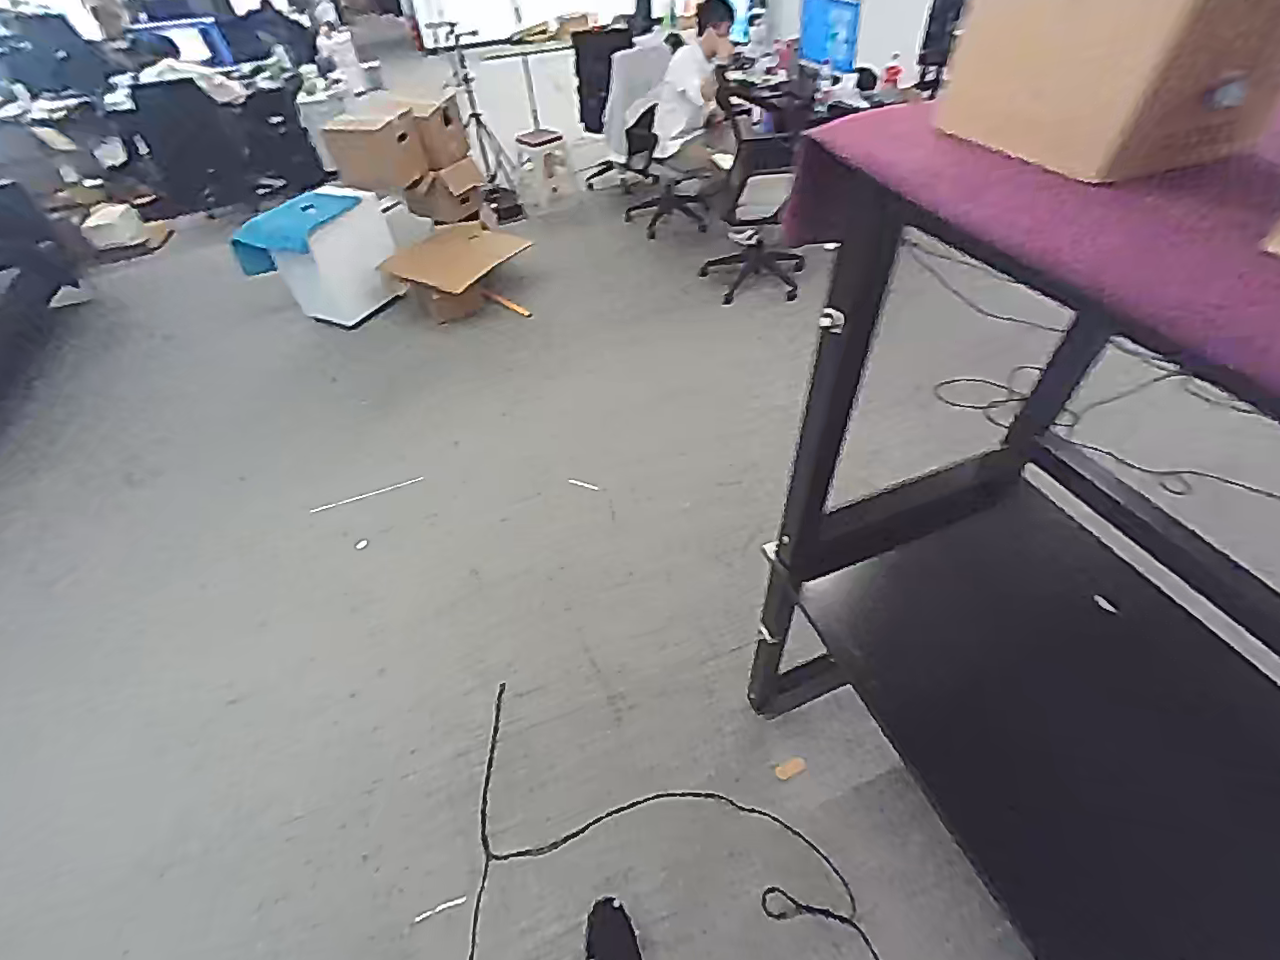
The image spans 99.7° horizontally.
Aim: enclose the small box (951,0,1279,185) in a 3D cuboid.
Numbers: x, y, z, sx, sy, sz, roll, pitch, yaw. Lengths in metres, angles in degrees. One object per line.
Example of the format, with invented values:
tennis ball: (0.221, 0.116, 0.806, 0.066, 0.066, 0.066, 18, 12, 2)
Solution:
small box: (0.383, -0.346, 0.410, 0.168, 0.176, 0.179, -17, 48, -12)
